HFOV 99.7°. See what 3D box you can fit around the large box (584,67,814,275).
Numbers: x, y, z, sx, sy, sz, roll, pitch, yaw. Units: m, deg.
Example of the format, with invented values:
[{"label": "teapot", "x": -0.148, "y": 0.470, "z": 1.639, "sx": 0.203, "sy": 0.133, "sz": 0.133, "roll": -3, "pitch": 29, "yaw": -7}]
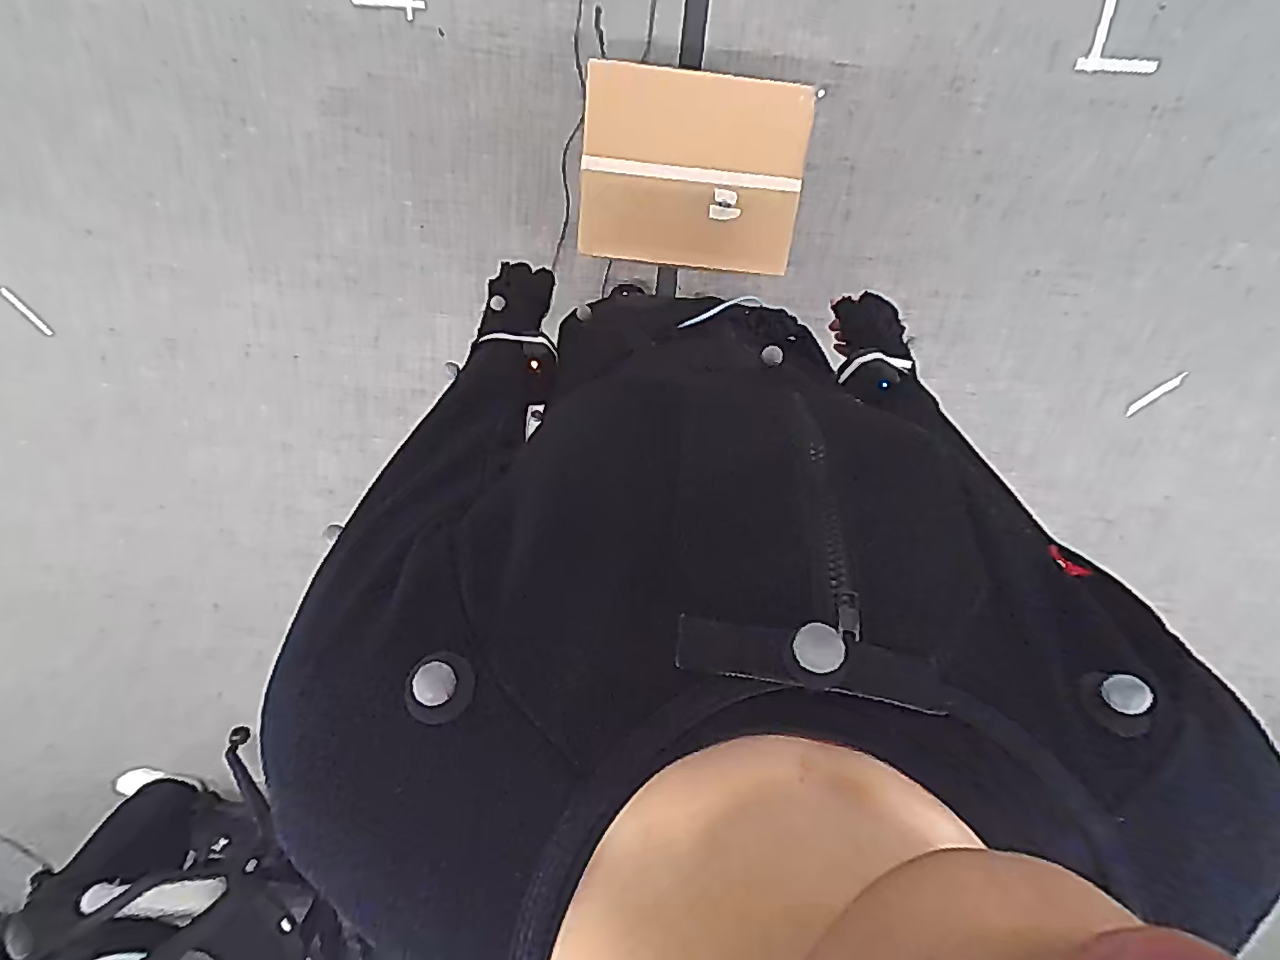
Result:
[{"label": "large box", "x": 0.095, "y": -0.613, "z": 1.139, "sx": 0.408, "sy": 0.320, "sz": 0.320, "roll": 5, "pitch": 111, "yaw": -3}]
